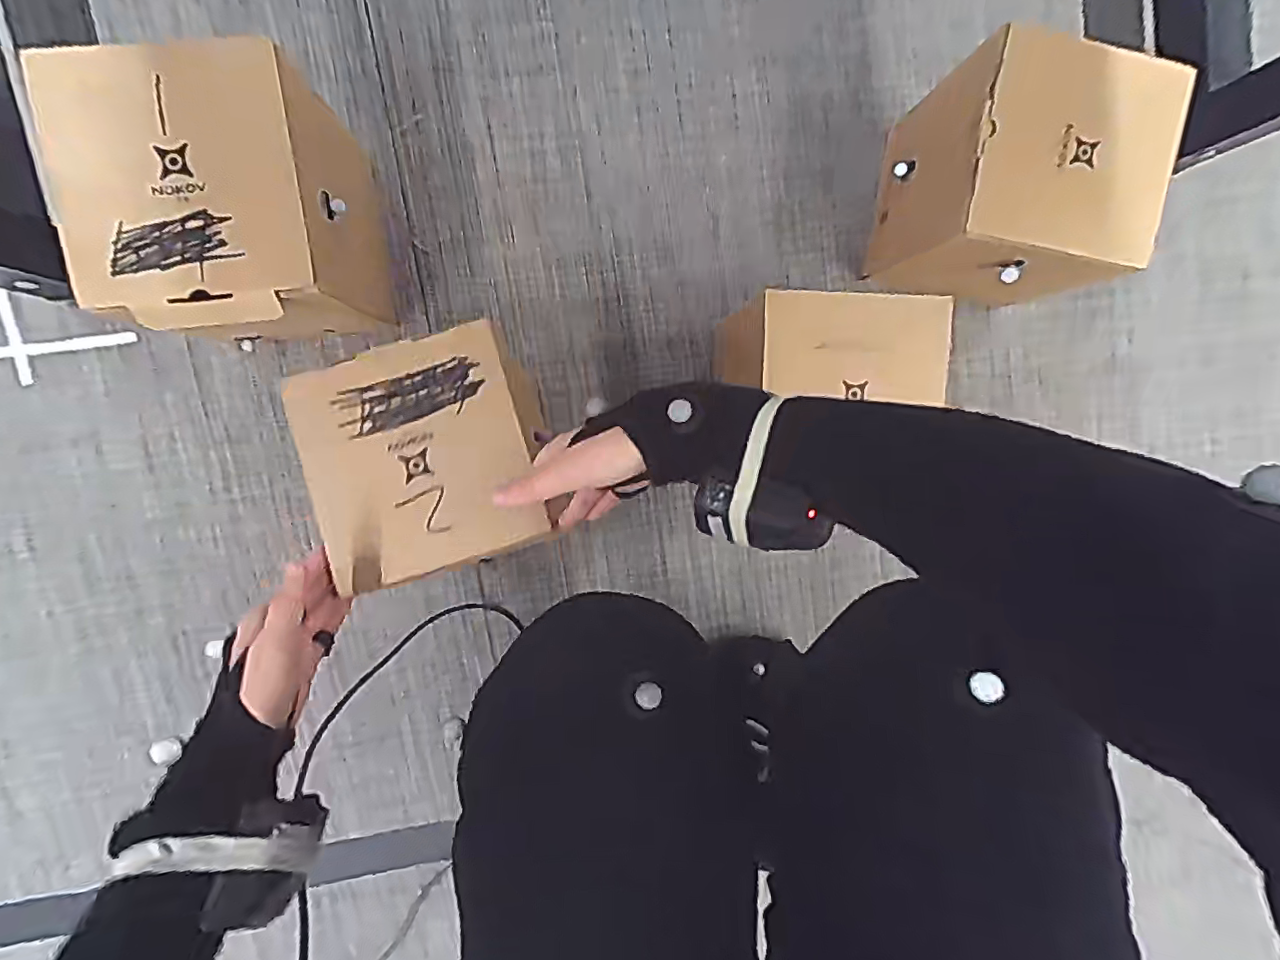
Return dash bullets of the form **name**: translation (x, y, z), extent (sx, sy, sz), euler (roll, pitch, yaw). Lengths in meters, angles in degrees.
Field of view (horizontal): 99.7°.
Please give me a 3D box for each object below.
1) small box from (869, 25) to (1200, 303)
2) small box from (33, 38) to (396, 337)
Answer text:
- **small box**: translation (0.358, -0.280, 0.526), extent (0.179, 0.176, 0.168), euler (8, 96, -6)
- **small box**: translation (-0.327, -0.223, 0.461), extent (0.168, 0.176, 0.179), euler (-8, 97, -5)
